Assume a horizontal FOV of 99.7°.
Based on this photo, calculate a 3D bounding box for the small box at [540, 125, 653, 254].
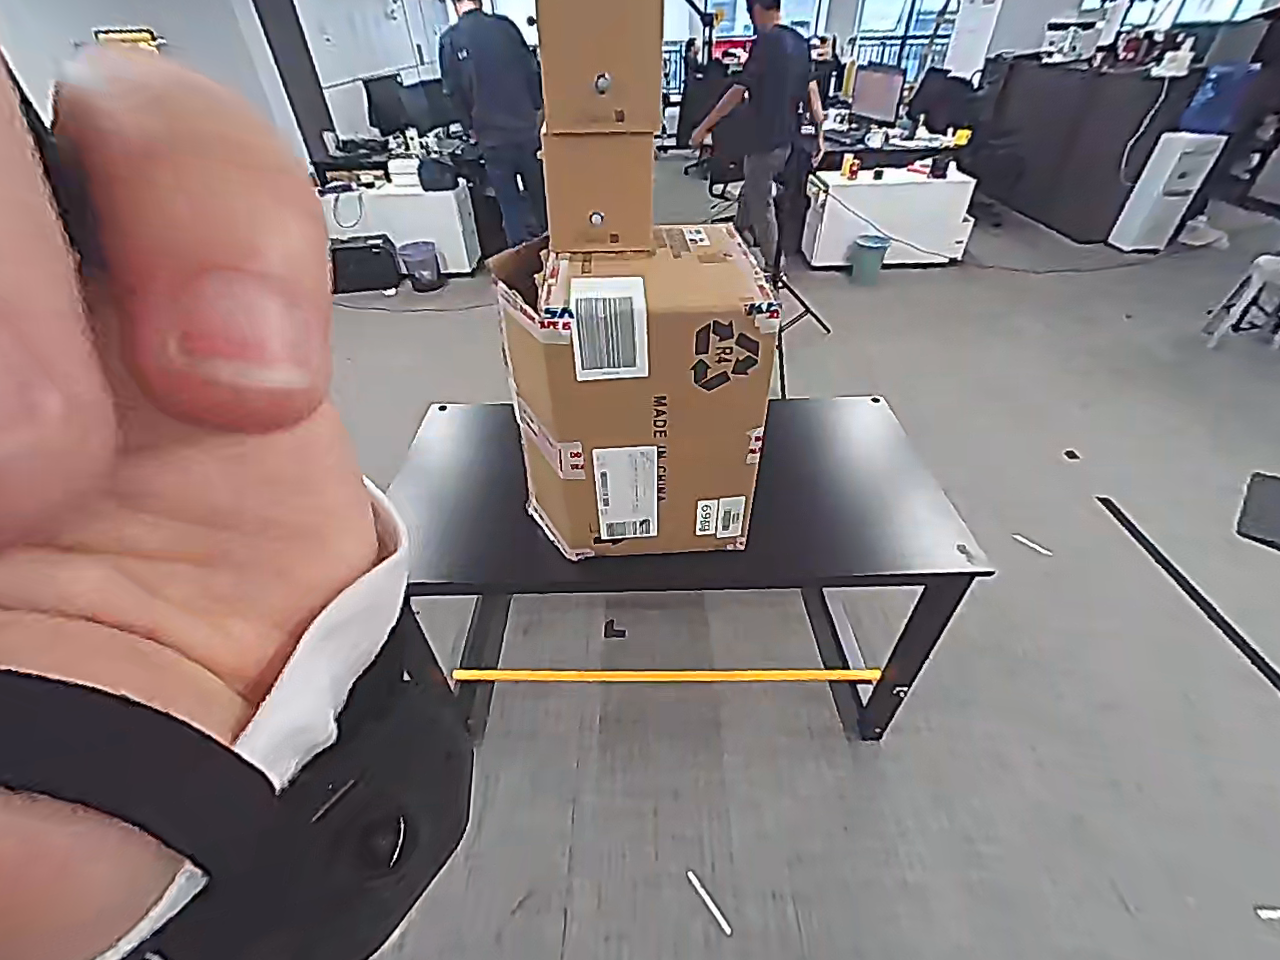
[{"bbox_3d":[-0.071,-0.485,0.895,0.168,0.176,0.179,-3,39,-5],"label":"small box"}]

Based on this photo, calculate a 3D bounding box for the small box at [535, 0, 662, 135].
[{"bbox_3d":[-0.063,-0.610,0.787,0.168,0.176,0.179,-5,38,-6],"label":"small box"}]
